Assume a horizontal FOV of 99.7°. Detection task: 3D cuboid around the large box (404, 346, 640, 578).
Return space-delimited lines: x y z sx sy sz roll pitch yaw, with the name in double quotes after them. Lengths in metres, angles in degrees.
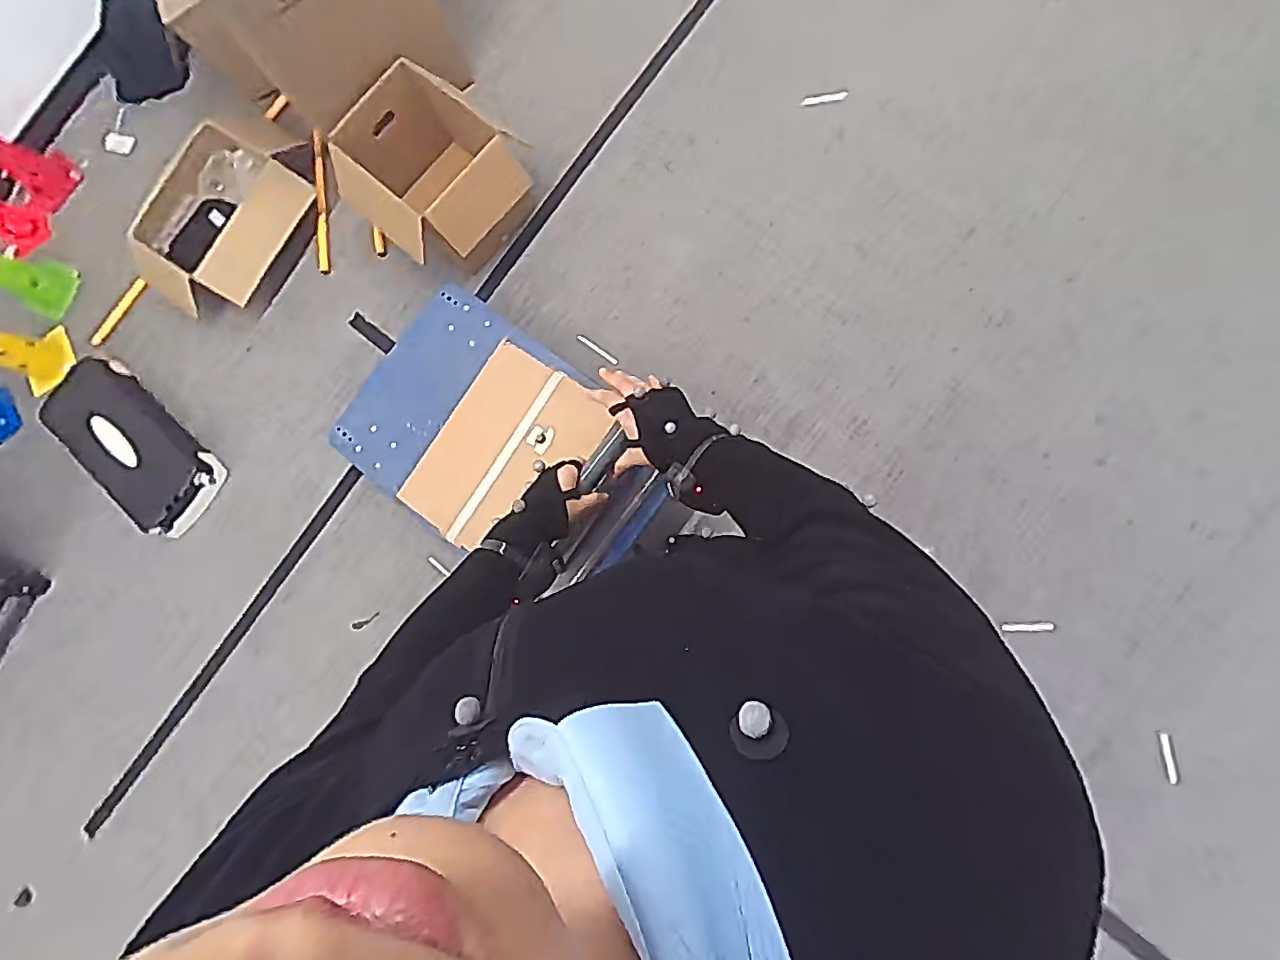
-0.247 -0.019 1.255 0.320 0.320 0.408 32 86 11 "large box"
